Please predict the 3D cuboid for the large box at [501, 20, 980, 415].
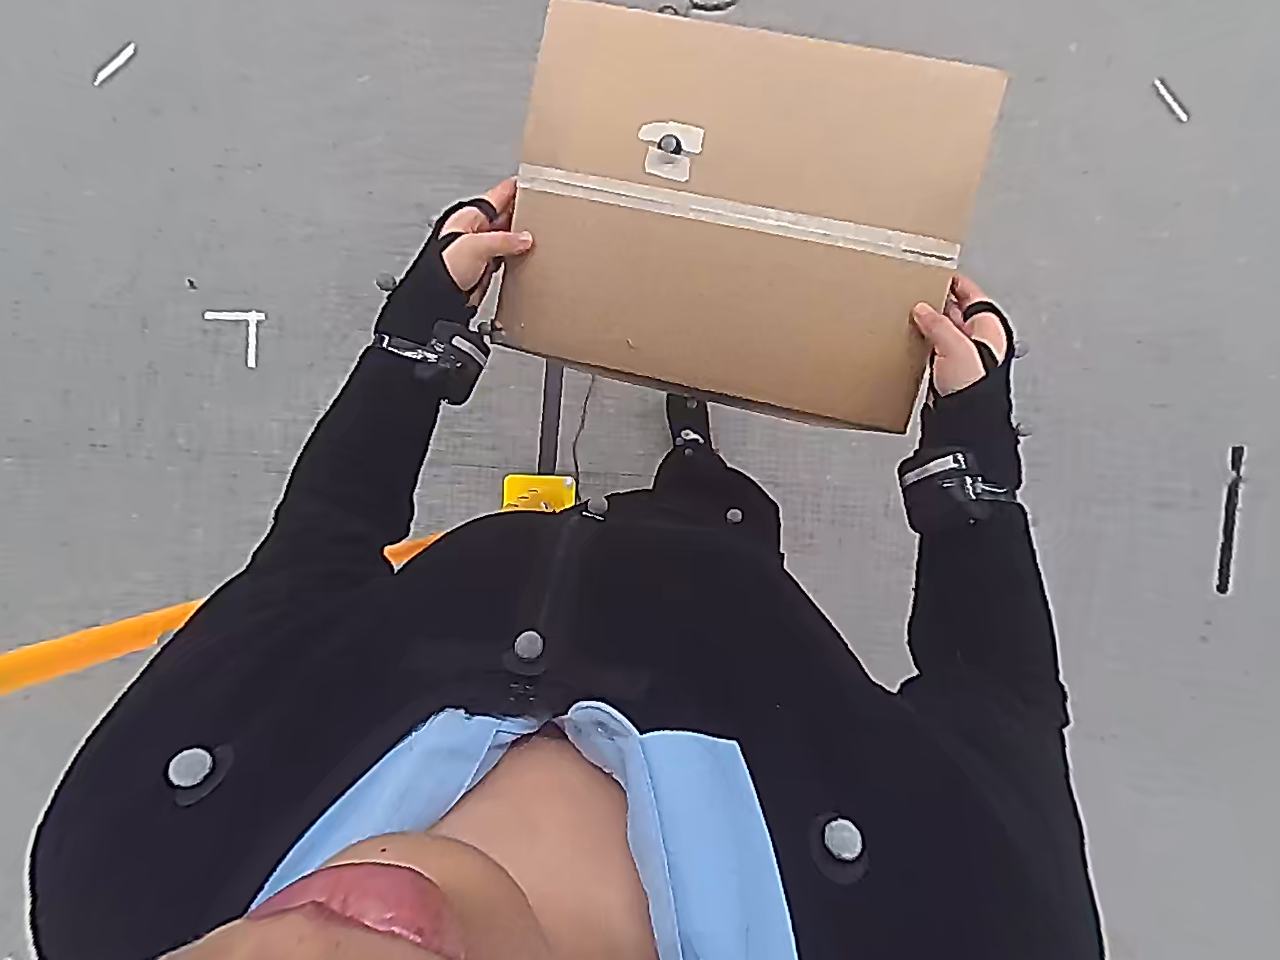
[{"bbox_3d":[0.098,-0.262,0.656,0.408,0.320,0.320,12,96,5],"label":"large box"}]
